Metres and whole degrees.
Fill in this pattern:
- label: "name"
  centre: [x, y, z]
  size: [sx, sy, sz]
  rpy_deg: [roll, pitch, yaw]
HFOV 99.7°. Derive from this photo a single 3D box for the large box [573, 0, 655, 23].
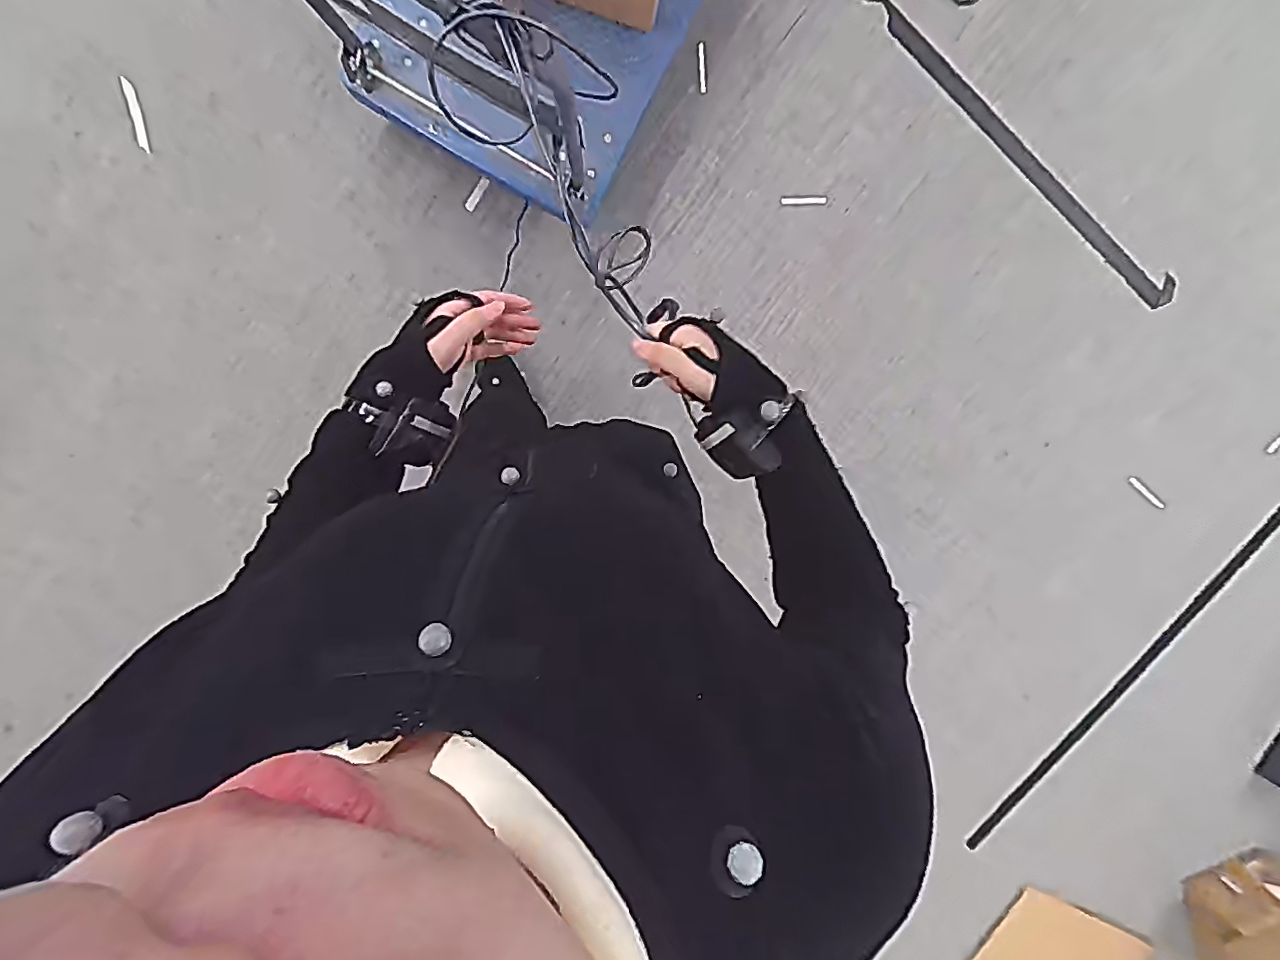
- label: "large box"
  centre: [-0.124, -1.097, 0.925]
  size: [0.408, 0.320, 0.320]
  rpy_deg: [13, 101, -8]
